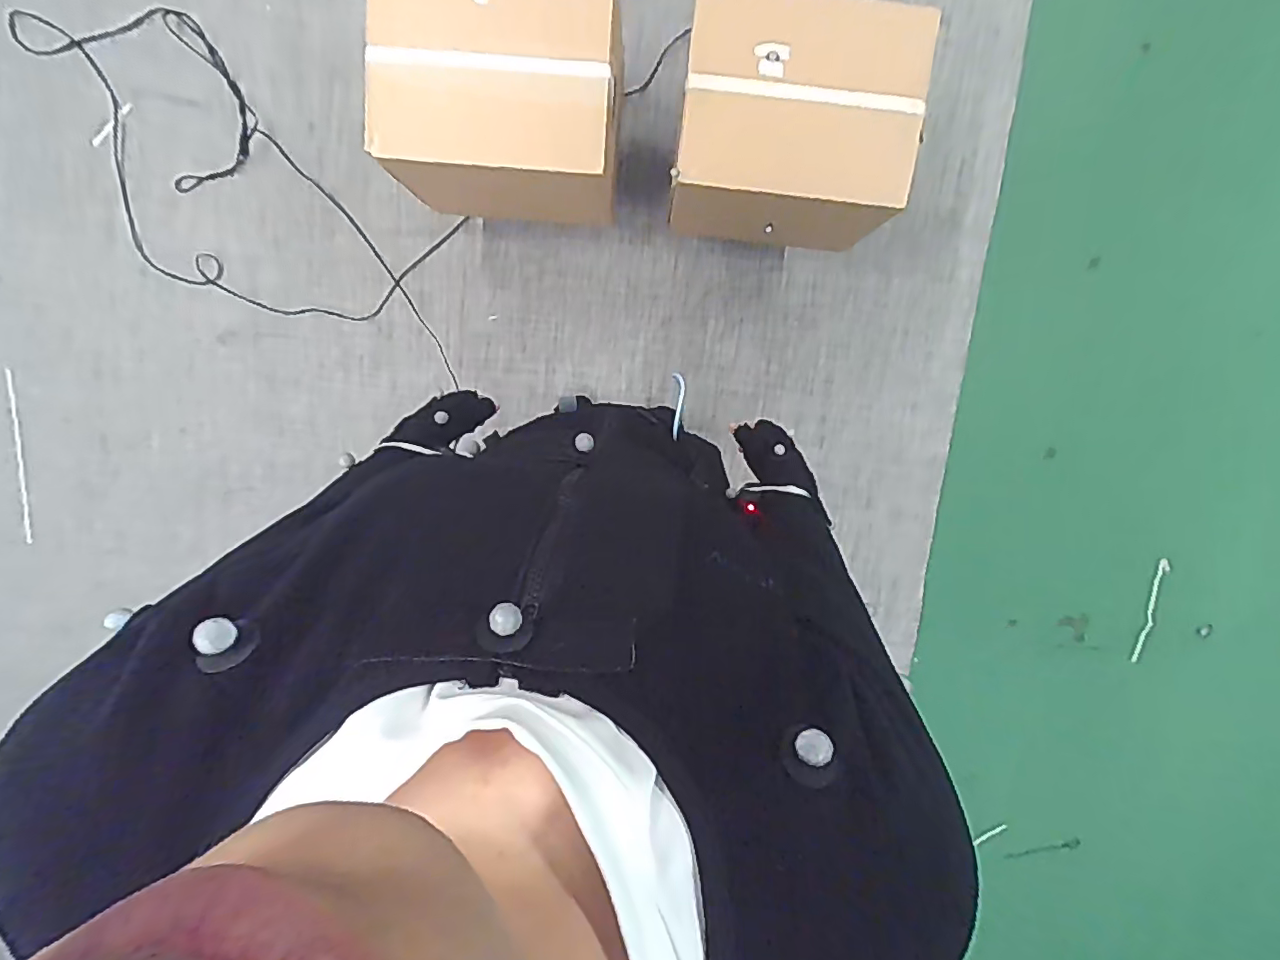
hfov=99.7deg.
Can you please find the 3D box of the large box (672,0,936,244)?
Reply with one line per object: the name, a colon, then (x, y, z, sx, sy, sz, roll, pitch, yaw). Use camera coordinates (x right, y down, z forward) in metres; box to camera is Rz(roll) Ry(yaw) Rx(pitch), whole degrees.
large box: (0.284, -0.677, 1.067, 0.408, 0.320, 0.320, 7, 100, -1)
